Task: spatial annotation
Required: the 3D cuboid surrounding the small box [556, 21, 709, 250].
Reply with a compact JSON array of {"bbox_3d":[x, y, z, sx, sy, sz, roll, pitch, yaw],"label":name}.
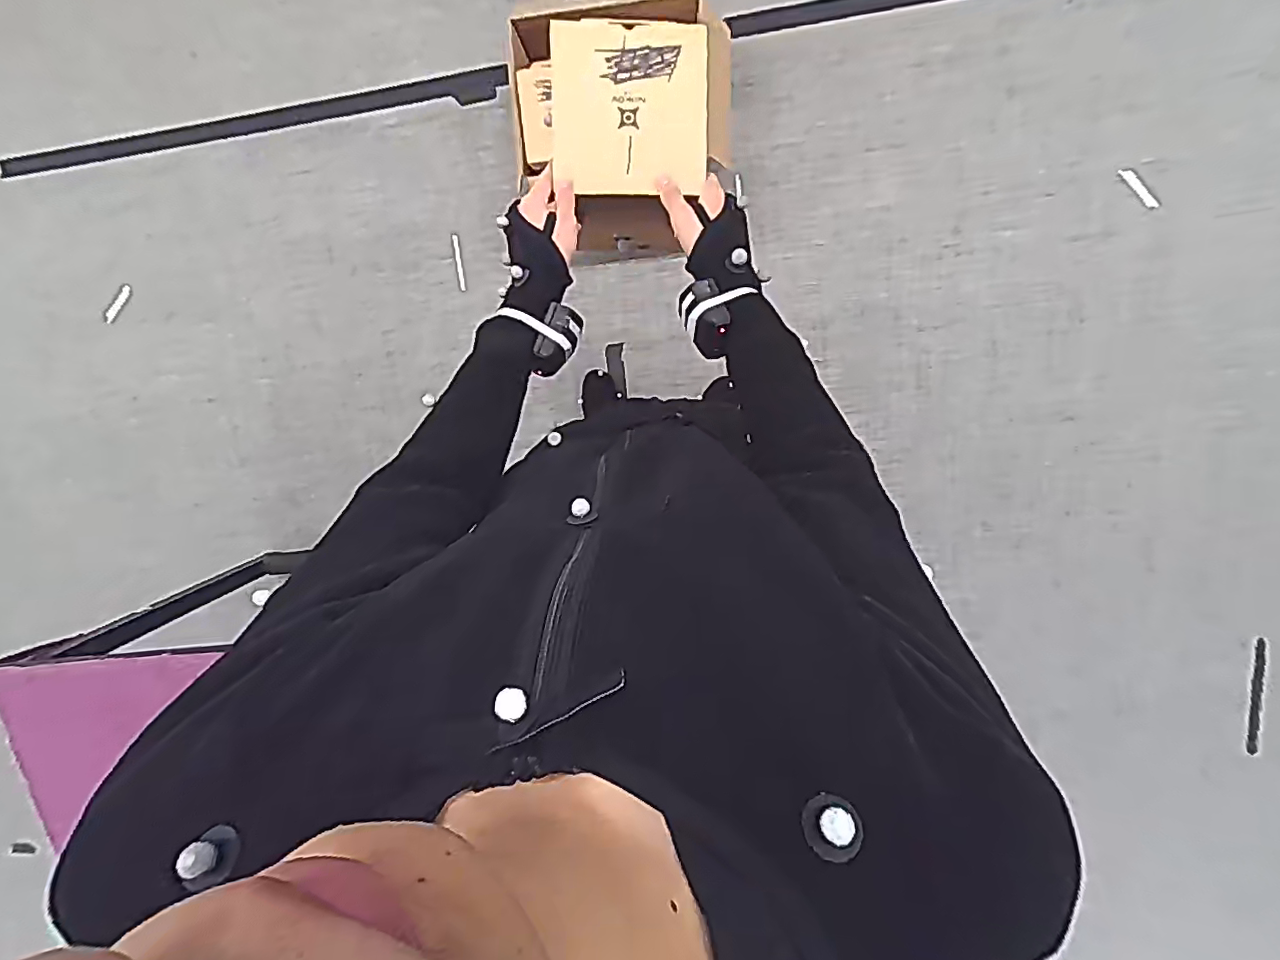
[{"bbox_3d":[-0.012,-0.399,0.654,0.168,0.176,0.179,-1,93,-2],"label":"small box"}]
